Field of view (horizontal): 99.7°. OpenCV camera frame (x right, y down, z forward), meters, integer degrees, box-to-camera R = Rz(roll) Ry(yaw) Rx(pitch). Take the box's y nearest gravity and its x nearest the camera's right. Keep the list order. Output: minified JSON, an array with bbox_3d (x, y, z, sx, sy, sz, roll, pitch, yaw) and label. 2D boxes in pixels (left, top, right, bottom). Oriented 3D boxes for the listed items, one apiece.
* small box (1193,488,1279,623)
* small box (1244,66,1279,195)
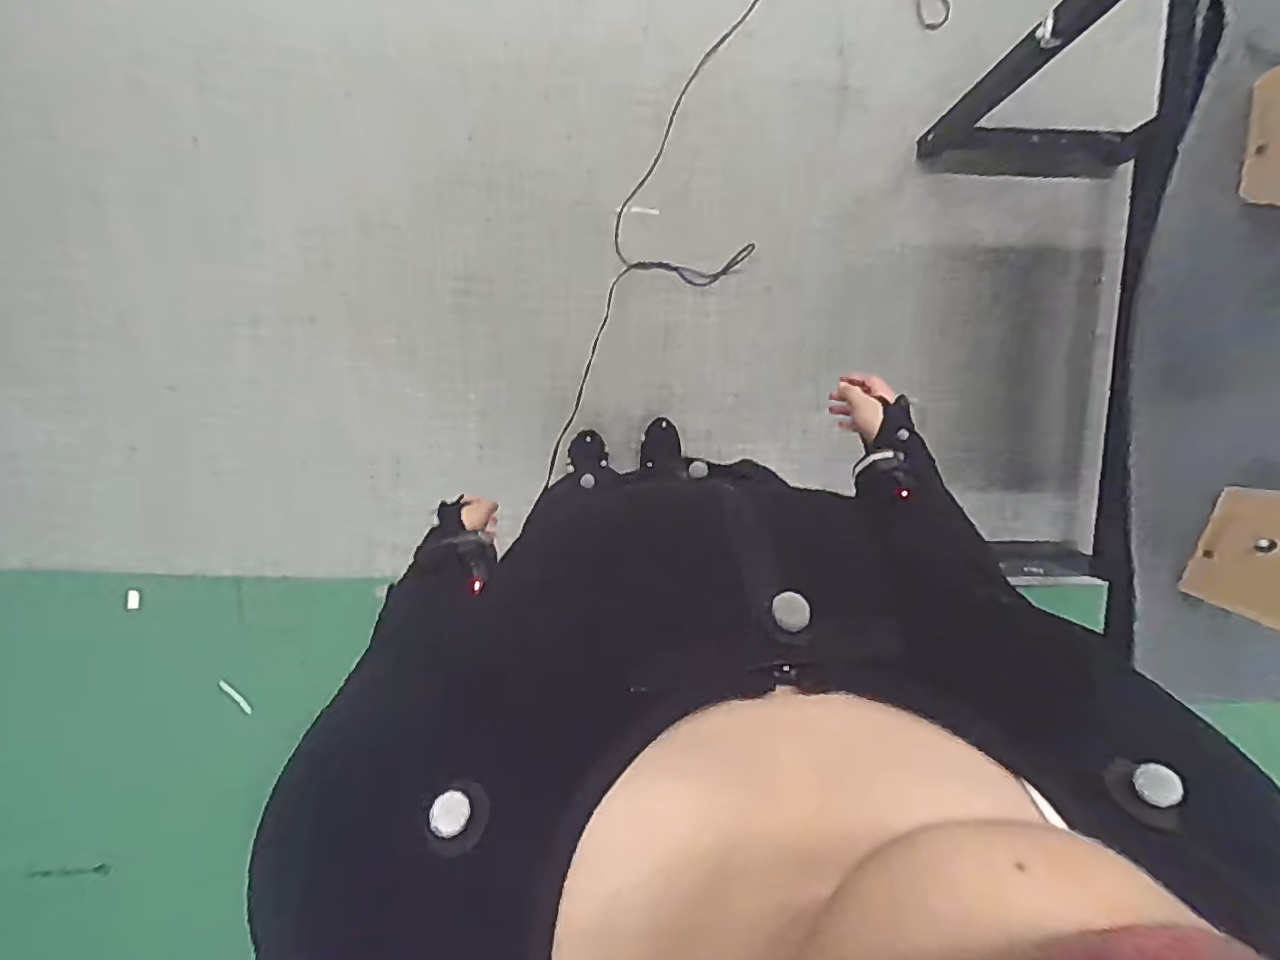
[{"bbox_3d":[0.907,0.117,0.710,0.179,0.176,0.168,21,94,-6],"label":"small box"},{"bbox_3d":[0.925,-0.464,0.662,0.179,0.176,0.168,1,95,-4],"label":"small box"}]
